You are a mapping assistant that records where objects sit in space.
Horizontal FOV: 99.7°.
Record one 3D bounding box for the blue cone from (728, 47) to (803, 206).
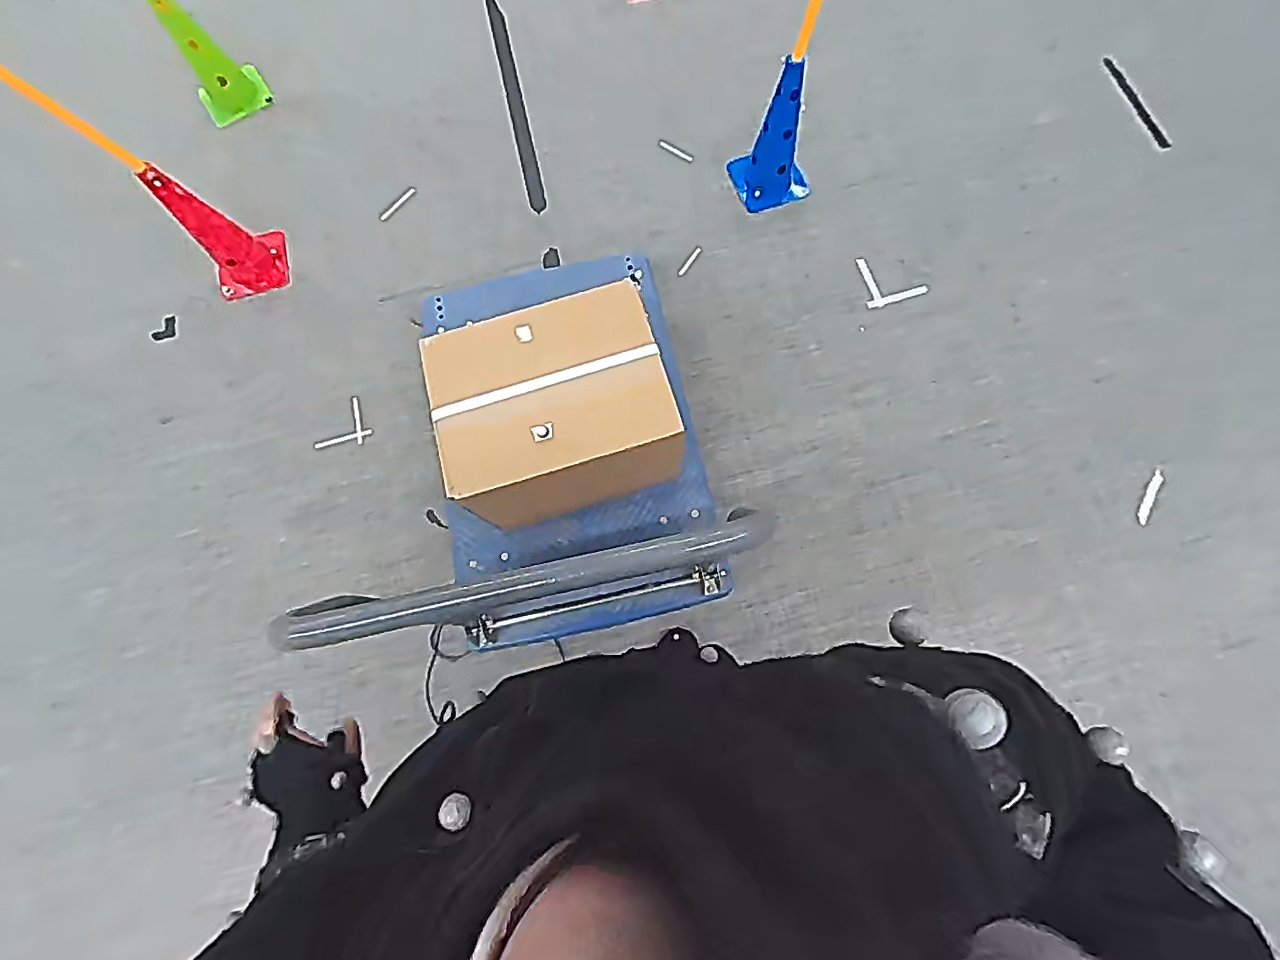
[{"bbox_3d":[0.369,-0.950,1.452,0.193,0.380,0.192,-18,74,-3],"label":"blue cone"}]
